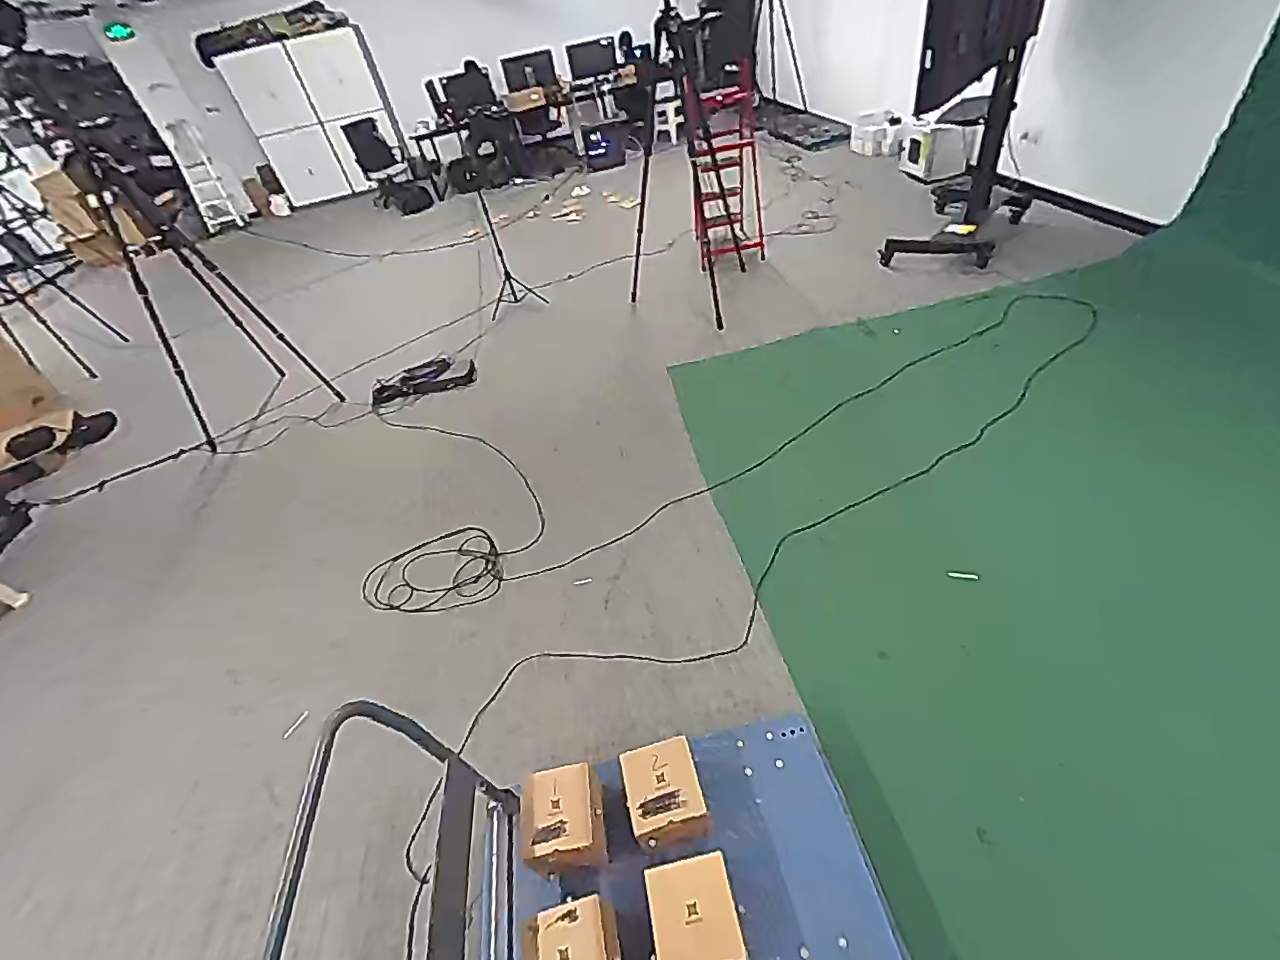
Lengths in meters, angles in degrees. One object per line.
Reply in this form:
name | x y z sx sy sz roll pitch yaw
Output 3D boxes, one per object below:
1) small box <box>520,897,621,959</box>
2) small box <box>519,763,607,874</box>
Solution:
small box | -0.131 0.970 1.074 0.168 0.176 0.179 -16 43 -2
small box | -0.177 0.801 1.270 0.168 0.176 0.179 -12 42 1
